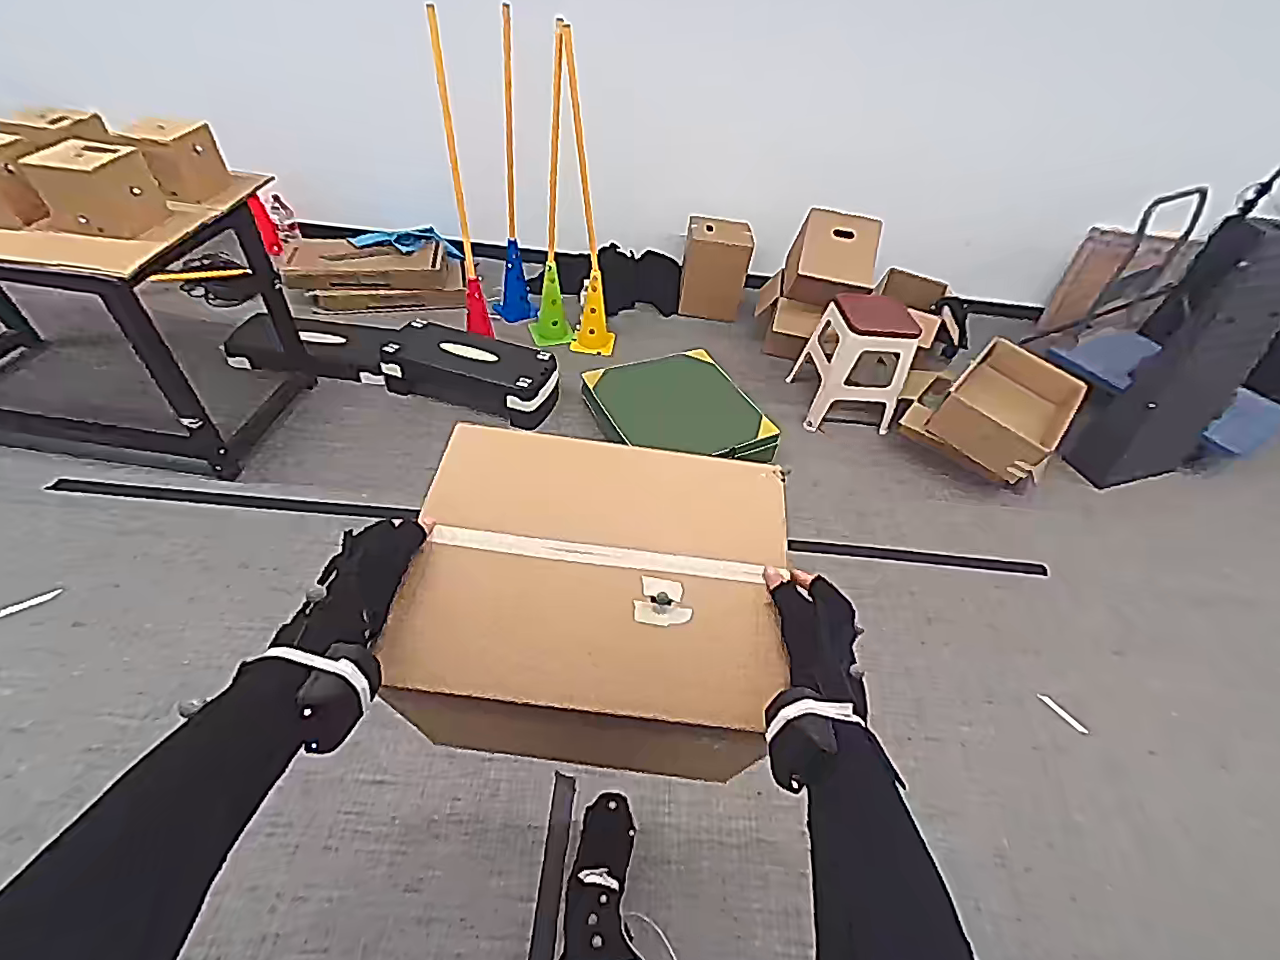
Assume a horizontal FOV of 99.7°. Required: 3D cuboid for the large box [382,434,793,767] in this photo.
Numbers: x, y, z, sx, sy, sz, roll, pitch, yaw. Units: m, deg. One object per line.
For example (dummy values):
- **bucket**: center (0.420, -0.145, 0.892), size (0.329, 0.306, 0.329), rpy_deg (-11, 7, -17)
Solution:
- **large box**: center (-0.053, 0.172, 0.719), size (0.408, 0.320, 0.320), rpy_deg (8, 55, -2)
